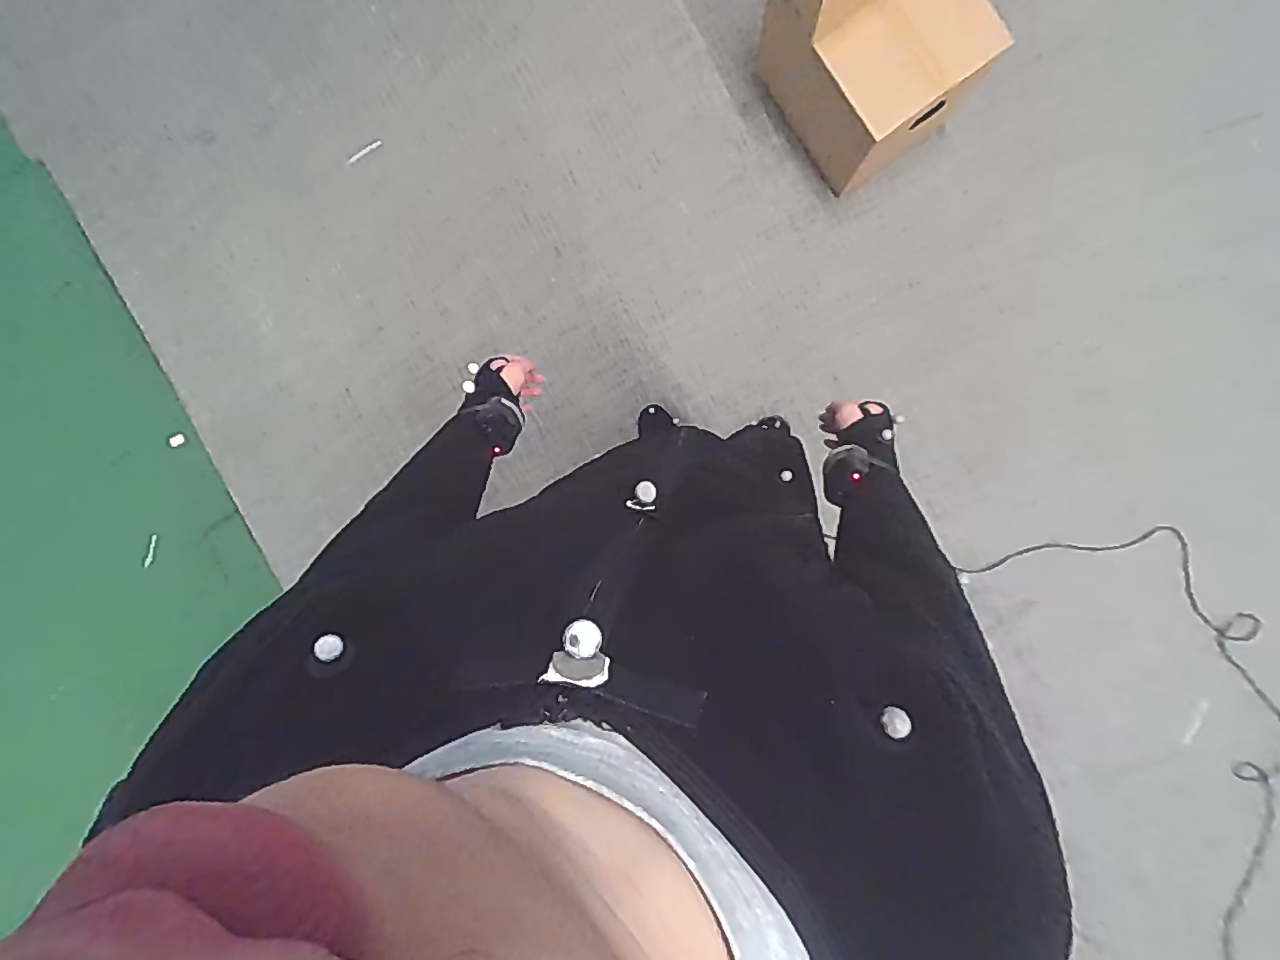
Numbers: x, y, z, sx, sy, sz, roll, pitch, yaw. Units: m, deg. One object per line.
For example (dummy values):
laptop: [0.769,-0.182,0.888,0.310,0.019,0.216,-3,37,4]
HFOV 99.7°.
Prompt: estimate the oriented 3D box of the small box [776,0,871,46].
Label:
small box: [0.359,-0.985,1.013,0.179,0.176,0.168,-31,92,11]
